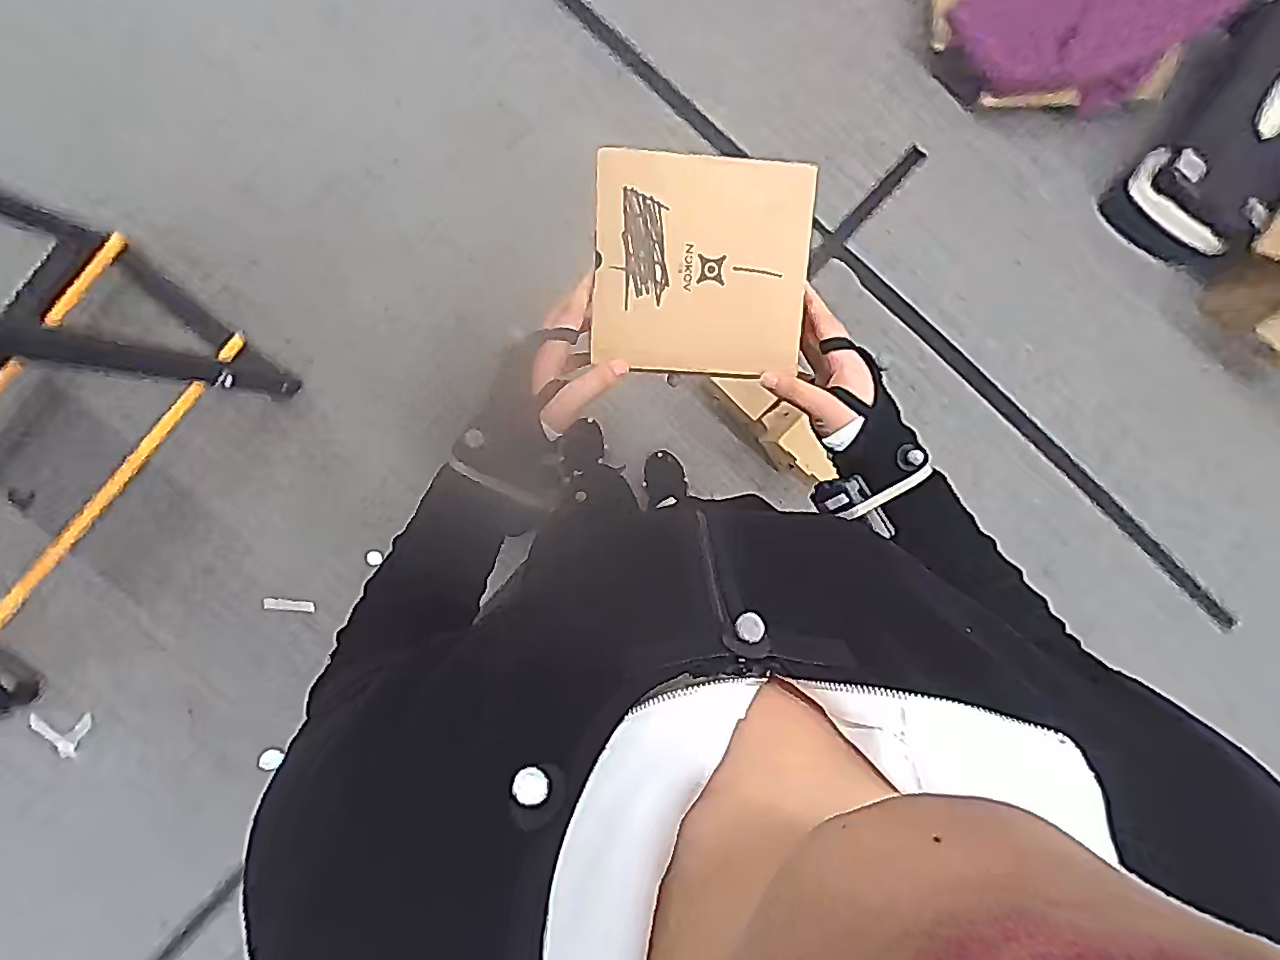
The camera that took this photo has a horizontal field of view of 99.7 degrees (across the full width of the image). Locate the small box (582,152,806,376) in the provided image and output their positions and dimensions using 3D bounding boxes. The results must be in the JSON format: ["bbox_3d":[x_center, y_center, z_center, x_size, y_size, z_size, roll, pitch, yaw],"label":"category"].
[{"bbox_3d":[0.041,-0.188,0.519,0.179,0.176,0.168,2,100,-2],"label":"small box"}]

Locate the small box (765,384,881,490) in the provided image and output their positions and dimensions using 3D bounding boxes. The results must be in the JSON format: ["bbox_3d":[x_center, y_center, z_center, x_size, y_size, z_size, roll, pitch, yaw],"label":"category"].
[{"bbox_3d":[0.410,-0.099,1.256,0.168,0.176,0.179,43,93,-4],"label":"small box"}]
